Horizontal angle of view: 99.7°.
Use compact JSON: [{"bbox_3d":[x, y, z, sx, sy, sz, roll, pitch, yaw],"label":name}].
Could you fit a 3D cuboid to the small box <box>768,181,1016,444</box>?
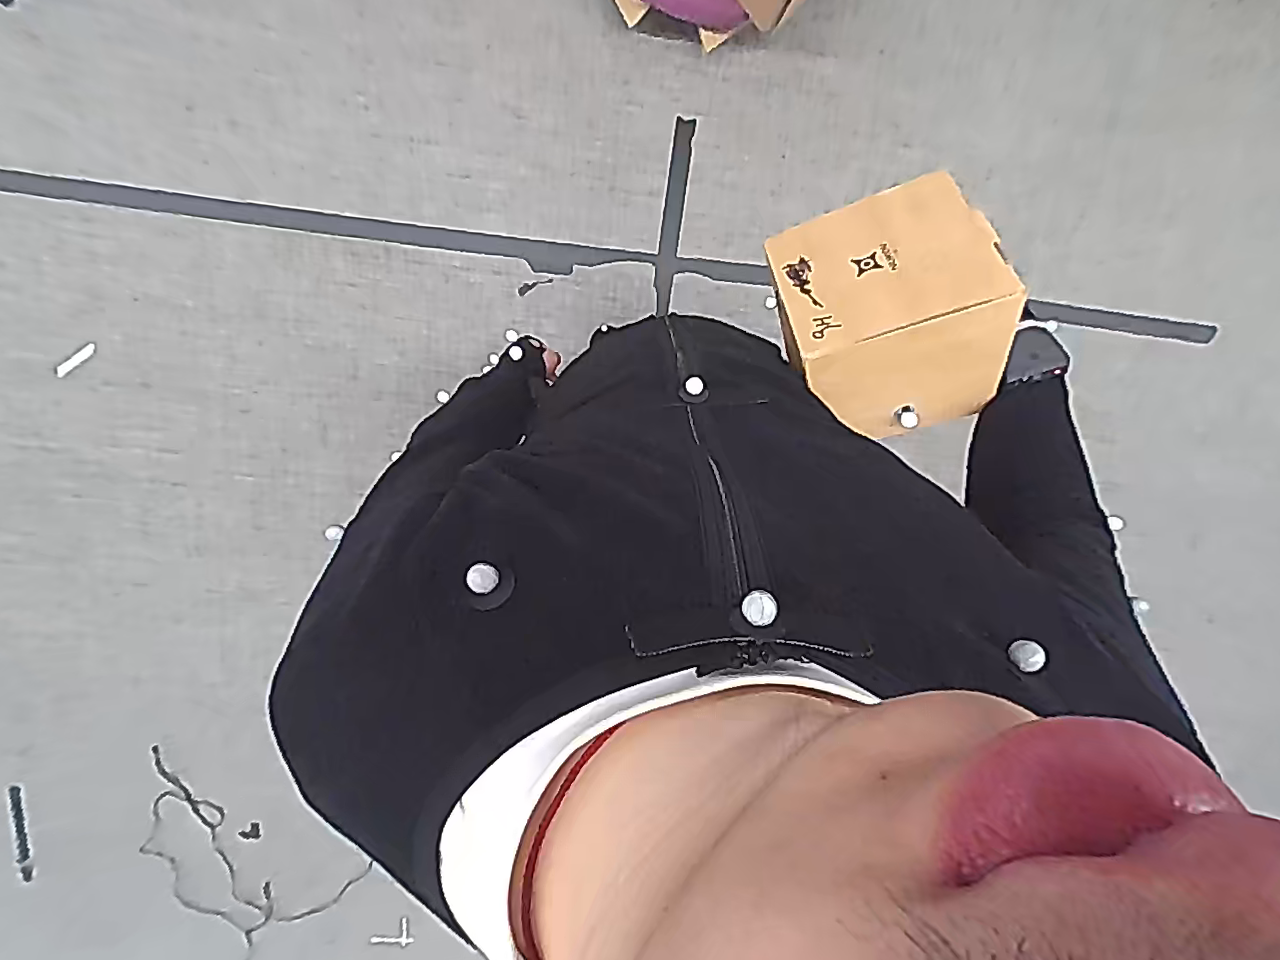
[{"bbox_3d":[0.247,-0.162,0.568,0.179,0.168,0.176,-15,148,15],"label":"small box"}]
